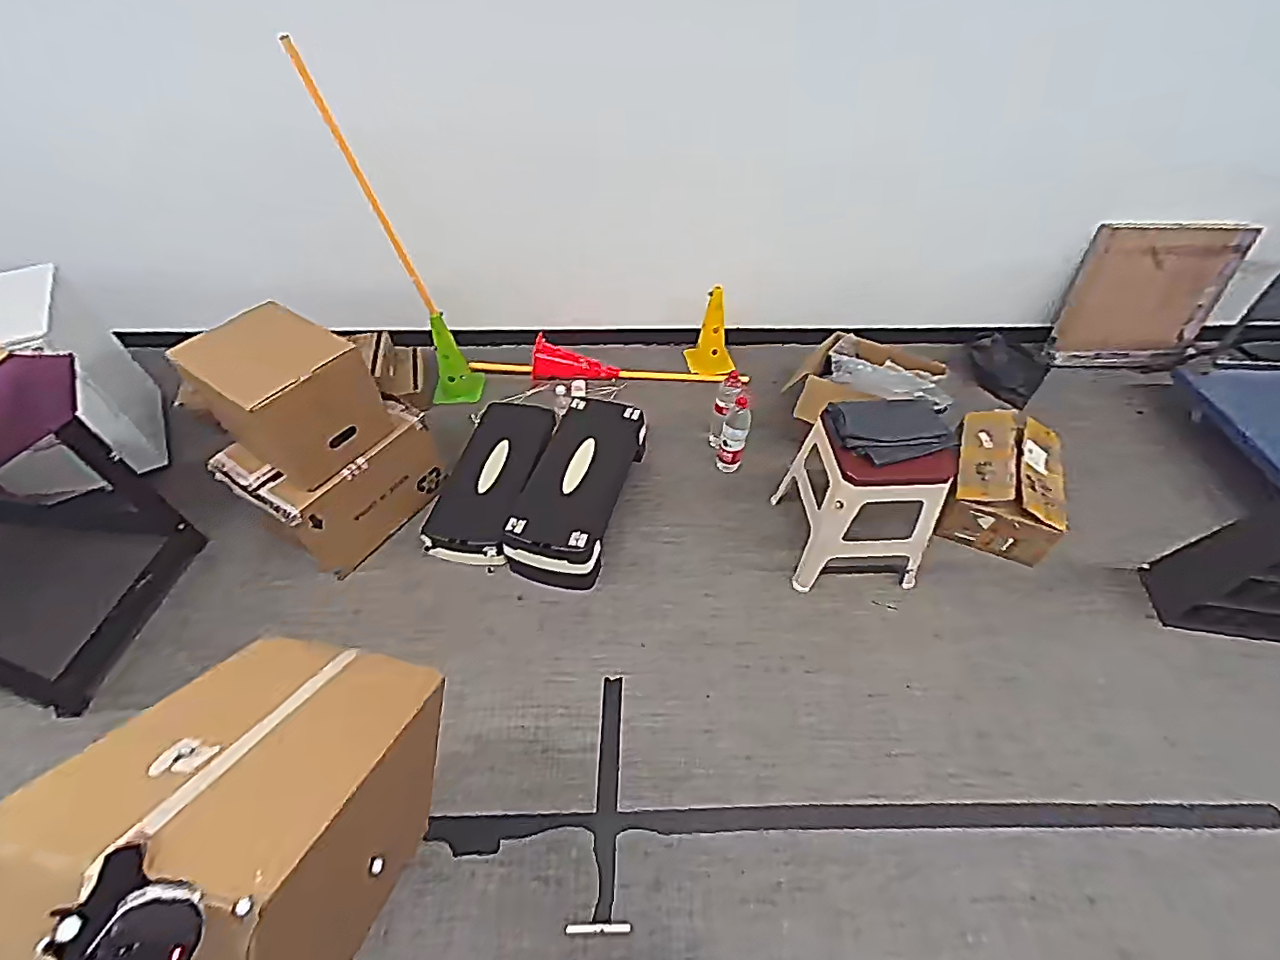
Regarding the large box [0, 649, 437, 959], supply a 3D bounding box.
[{"bbox_3d":[-0.521,0.493,0.734,0.320,0.320,0.408,11,11,2],"label":"large box"}]
